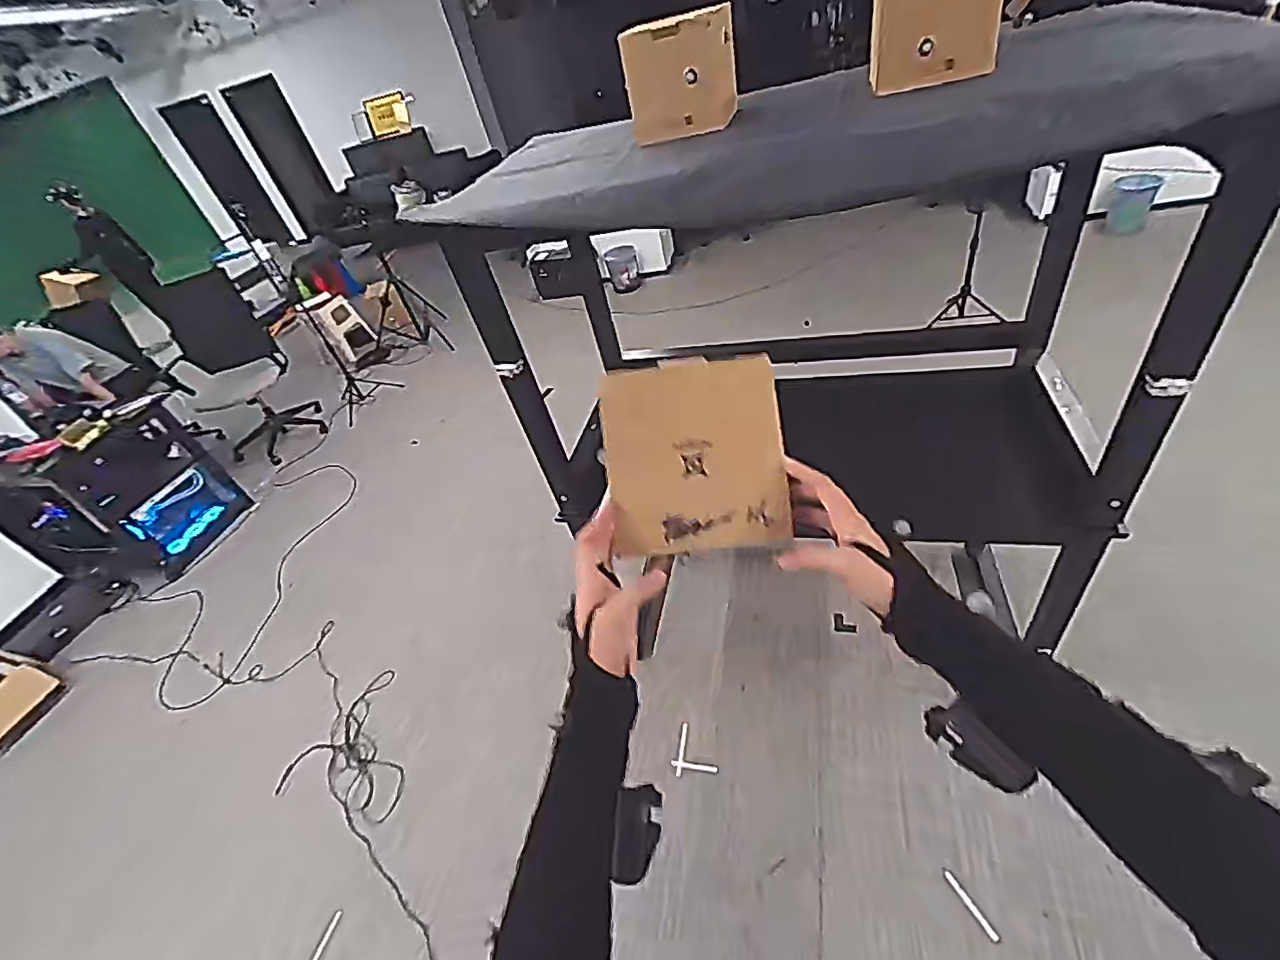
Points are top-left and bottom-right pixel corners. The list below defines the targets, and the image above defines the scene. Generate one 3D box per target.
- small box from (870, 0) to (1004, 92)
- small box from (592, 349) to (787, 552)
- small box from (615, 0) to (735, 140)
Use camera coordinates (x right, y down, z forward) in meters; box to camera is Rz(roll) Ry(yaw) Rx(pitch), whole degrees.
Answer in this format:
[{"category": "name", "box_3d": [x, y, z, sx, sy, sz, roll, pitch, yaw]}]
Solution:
[{"category": "small box", "box_3d": [0.462, -0.739, 0.855, 0.168, 0.176, 0.179, 0, 44, 19]}, {"category": "small box", "box_3d": [0.045, -0.022, 0.571, 0.168, 0.176, 0.179, -7, 86, 2]}, {"category": "small box", "box_3d": [0.074, -0.734, 0.976, 0.168, 0.176, 0.179, 3, 45, 19]}]
